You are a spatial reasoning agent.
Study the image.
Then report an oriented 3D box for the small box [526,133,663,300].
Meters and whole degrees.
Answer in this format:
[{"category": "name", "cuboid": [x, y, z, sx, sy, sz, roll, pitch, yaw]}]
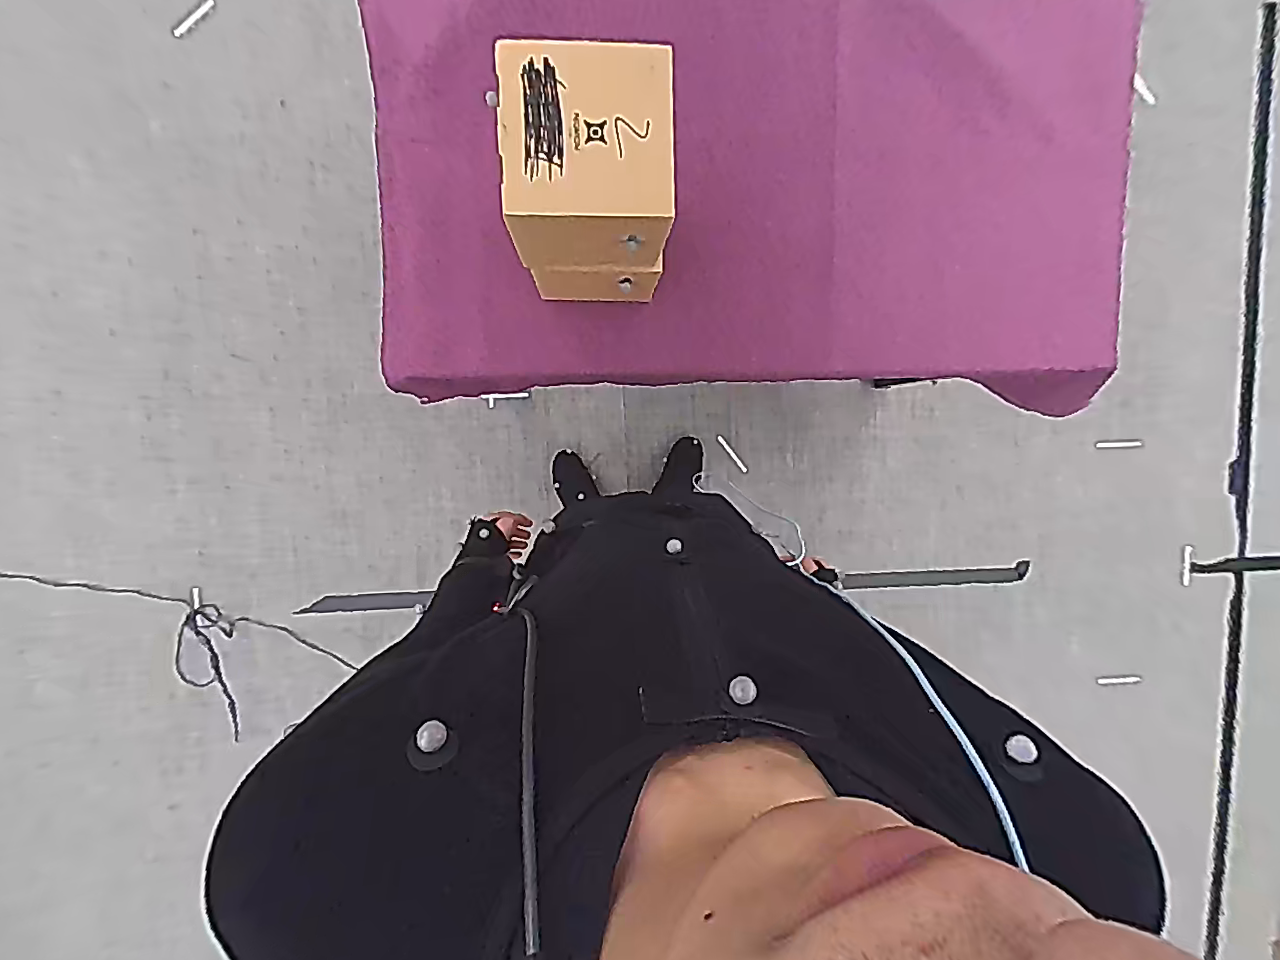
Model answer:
[{"category": "small box", "cuboid": [-0.066, -0.361, 0.773, 0.179, 0.176, 0.168, 0, 95, -5]}]
